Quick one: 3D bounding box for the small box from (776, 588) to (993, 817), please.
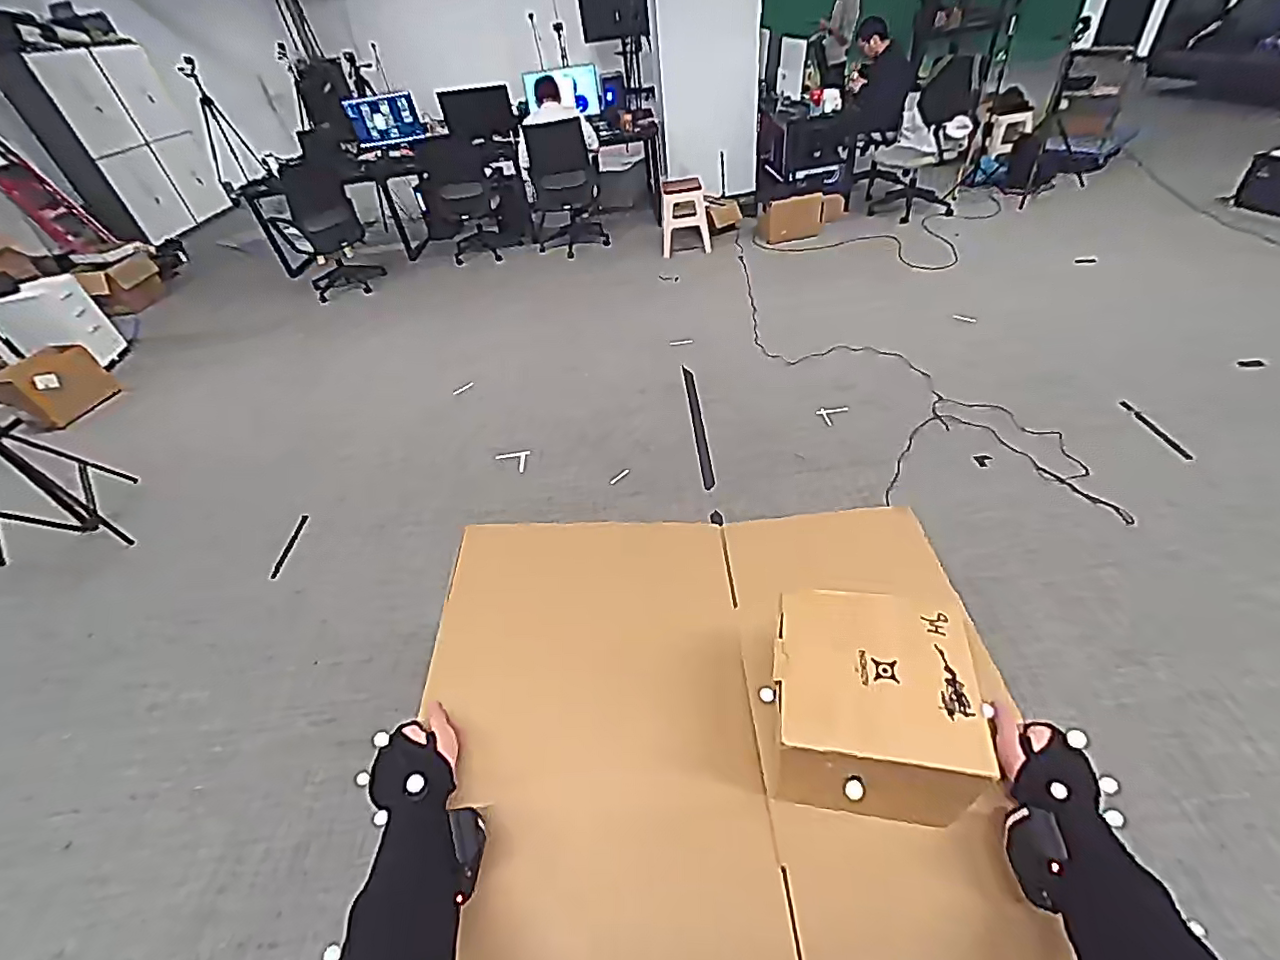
[{"bbox_3d":[0.236,0.235,0.574,0.179,0.176,0.168,2,46,14],"label":"small box"}]
